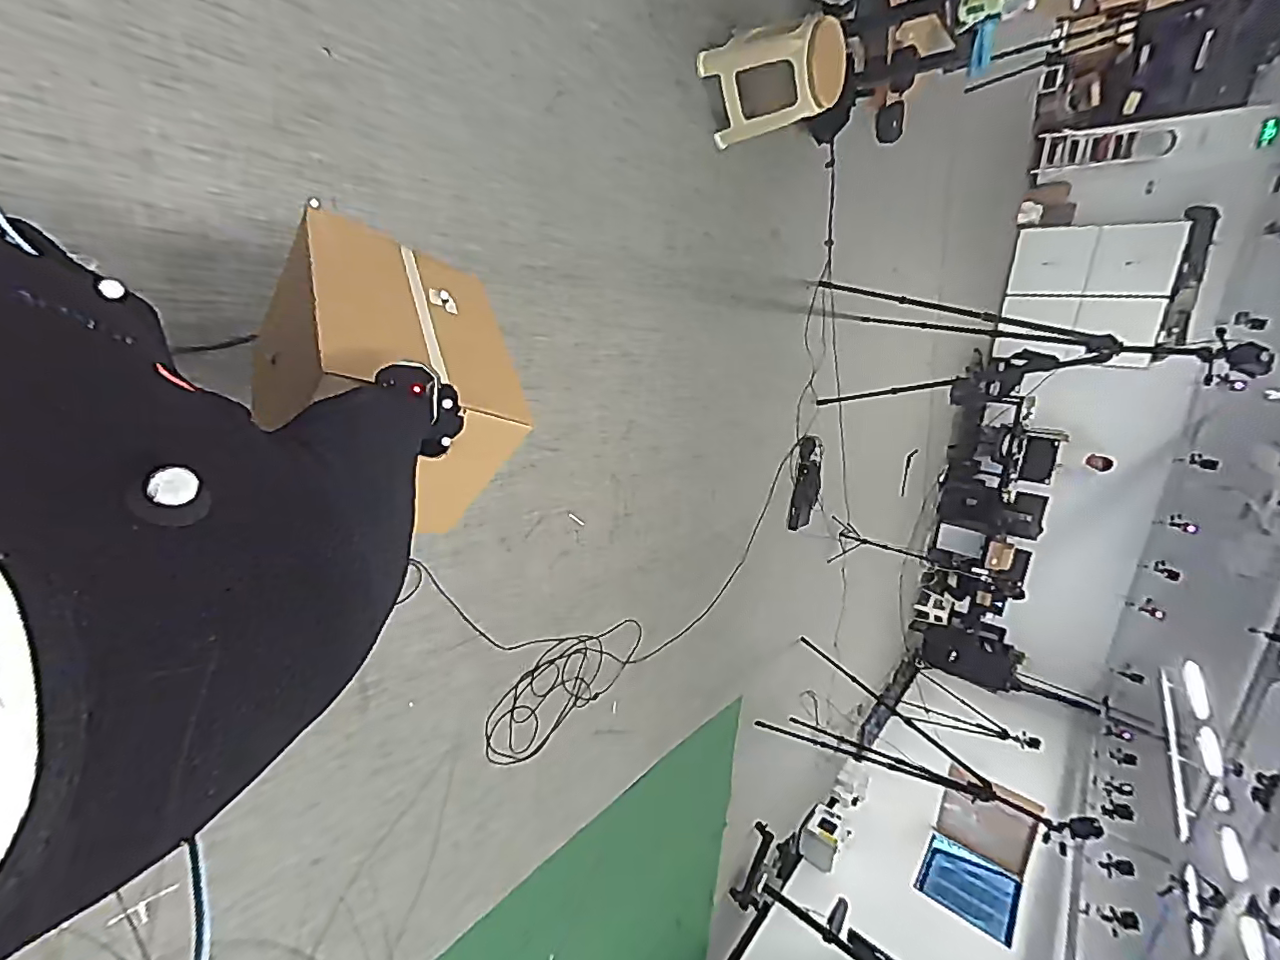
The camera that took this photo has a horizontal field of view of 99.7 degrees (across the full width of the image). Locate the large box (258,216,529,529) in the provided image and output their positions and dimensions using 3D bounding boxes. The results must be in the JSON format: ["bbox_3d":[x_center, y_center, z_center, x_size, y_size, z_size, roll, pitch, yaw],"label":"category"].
[{"bbox_3d":[-0.451,-0.164,0.952,0.320,0.408,0.320,12,131,-45],"label":"large box"}]
